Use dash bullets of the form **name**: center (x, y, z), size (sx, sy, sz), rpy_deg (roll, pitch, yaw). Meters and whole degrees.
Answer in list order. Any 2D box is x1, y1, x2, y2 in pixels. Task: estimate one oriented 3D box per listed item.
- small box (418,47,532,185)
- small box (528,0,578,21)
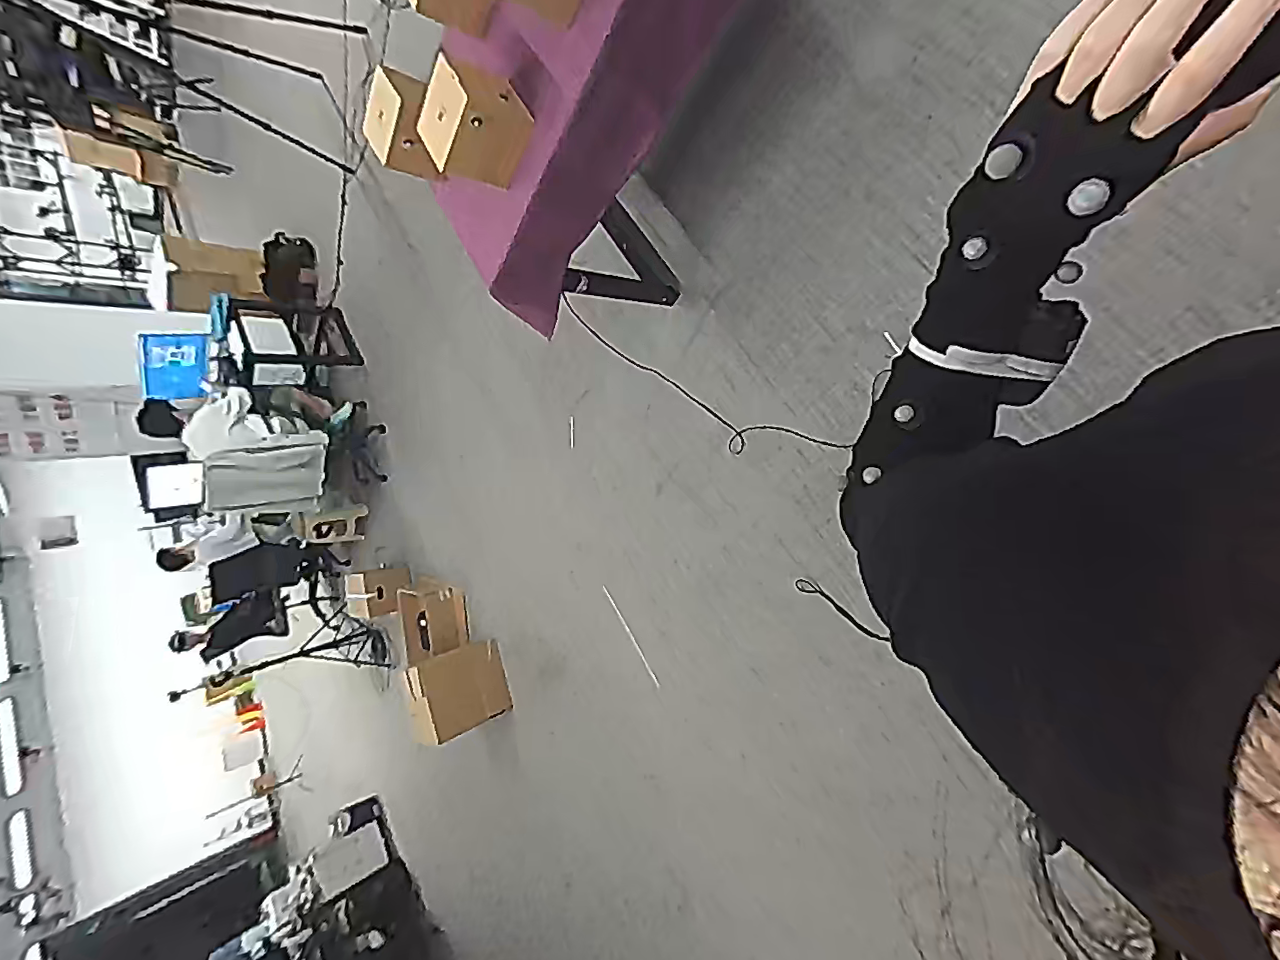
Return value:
- **small box**: center (-0.372, -0.808, 1.222), size (0.179, 0.176, 0.168), rpy_deg (-44, 67, 38)
- **small box**: center (-0.190, -1.019, 1.004), size (0.179, 0.176, 0.168), rpy_deg (-42, 69, 39)
